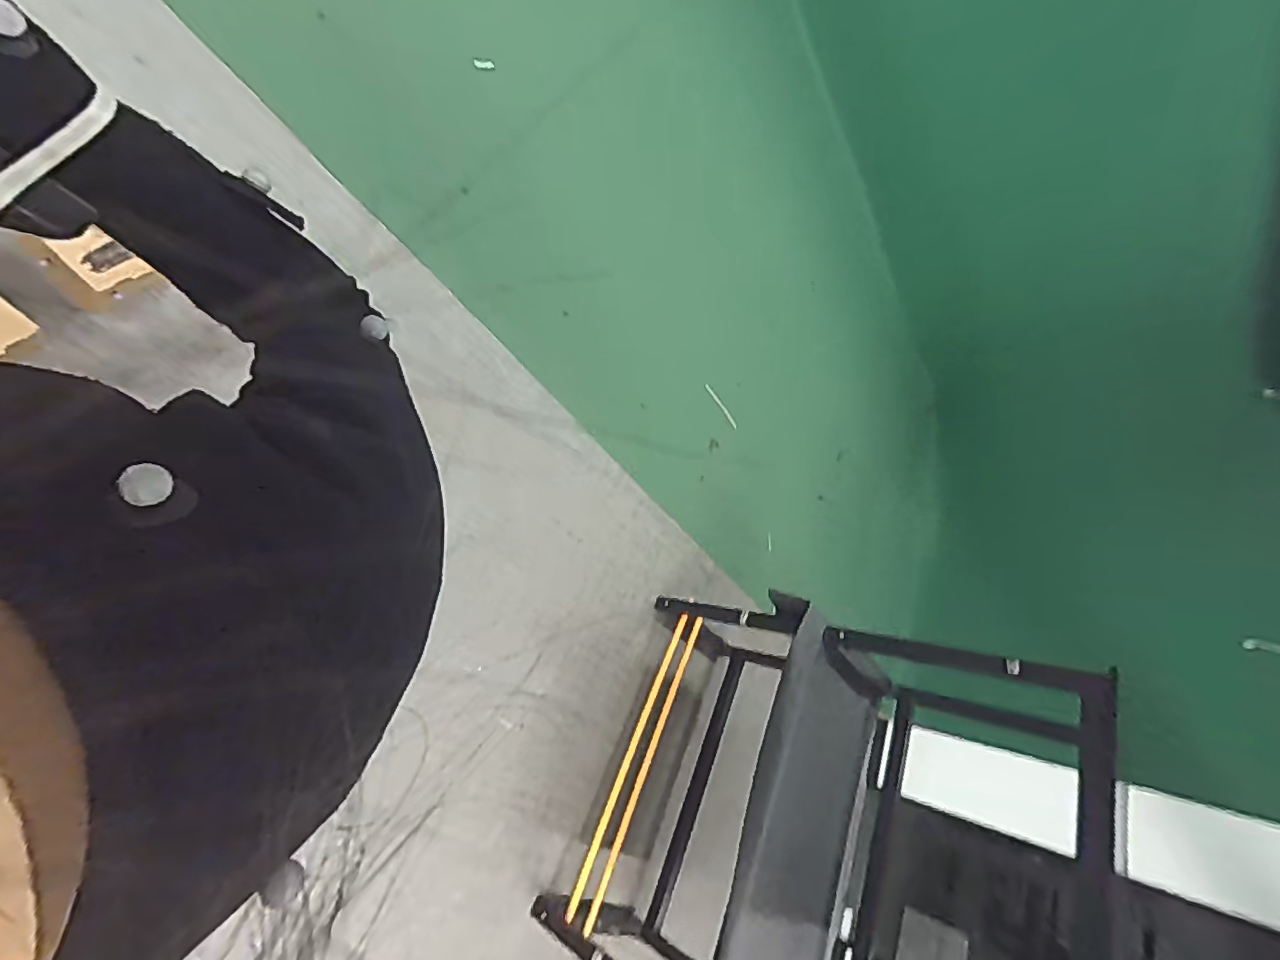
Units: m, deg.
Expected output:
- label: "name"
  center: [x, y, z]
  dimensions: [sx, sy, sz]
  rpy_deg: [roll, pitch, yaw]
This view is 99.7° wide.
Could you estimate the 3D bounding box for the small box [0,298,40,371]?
- label: "small box"
  center: [-1.152, -0.255, 0.880]
  dimensions: [0.179, 0.176, 0.168]
  rpy_deg: [54, 54, -32]
